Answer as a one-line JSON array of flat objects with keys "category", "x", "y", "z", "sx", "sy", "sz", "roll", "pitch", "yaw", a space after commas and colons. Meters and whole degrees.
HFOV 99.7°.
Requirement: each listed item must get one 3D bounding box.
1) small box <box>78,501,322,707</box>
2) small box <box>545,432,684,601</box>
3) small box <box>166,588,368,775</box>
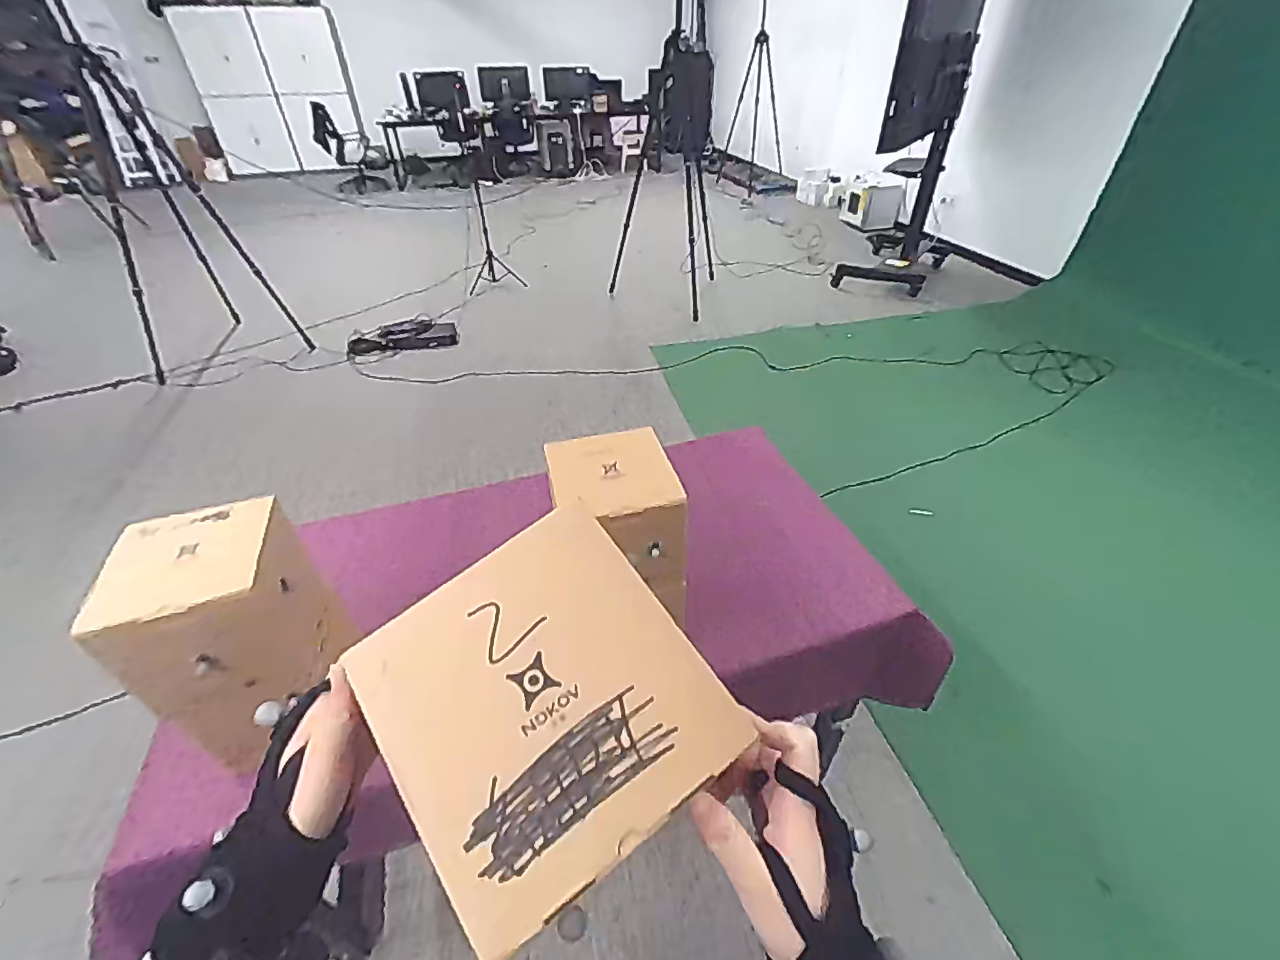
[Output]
[{"category": "small box", "x": -0.523, "y": 0.158, "z": 0.680, "sx": 0.168, "sy": 0.176, "sz": 0.179, "roll": -13, "pitch": 40, "yaw": -15}, {"category": "small box", "x": -0.038, "y": 0.056, "z": 0.787, "sx": 0.168, "sy": 0.176, "sz": 0.179, "roll": -10, "pitch": 39, "yaw": -11}, {"category": "small box", "x": -0.516, "y": 0.289, "z": 0.780, "sx": 0.179, "sy": 0.176, "sz": 0.168, "roll": -12, "pitch": 39, "yaw": -16}]
